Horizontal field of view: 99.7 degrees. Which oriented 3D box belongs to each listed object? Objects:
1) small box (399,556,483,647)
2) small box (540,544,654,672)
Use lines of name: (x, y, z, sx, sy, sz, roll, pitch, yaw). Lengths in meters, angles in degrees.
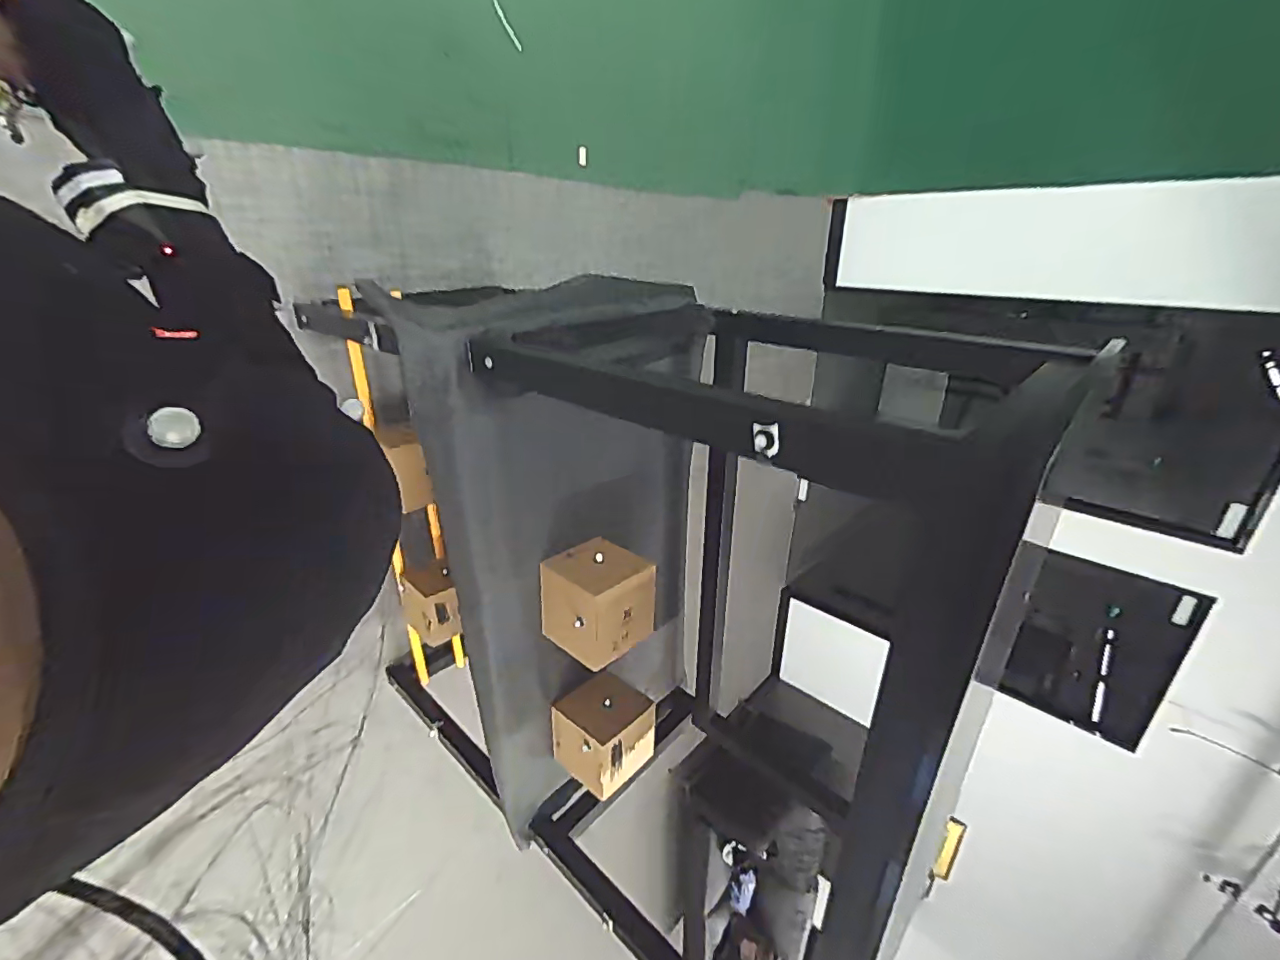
small box: (-0.582, 0.345, 1.570, 0.179, 0.176, 0.168, -20, 121, -44)
small box: (-0.090, 0.247, 1.101, 0.168, 0.176, 0.179, -20, 121, -44)
